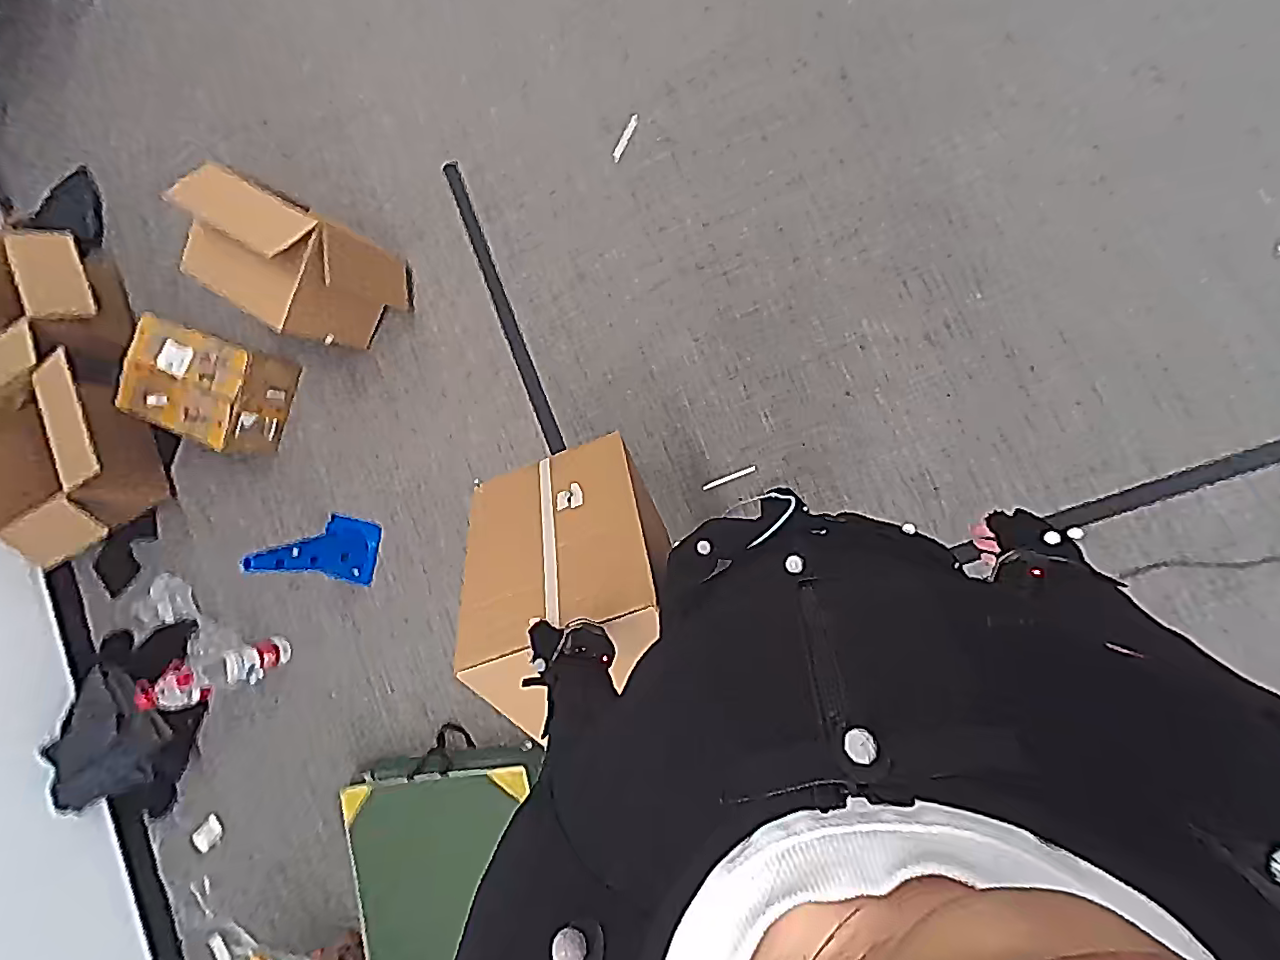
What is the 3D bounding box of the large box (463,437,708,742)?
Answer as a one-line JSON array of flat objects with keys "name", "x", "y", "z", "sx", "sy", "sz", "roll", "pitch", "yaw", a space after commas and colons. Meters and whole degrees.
[{"name": "large box", "x": -0.098, "y": 0.195, "z": 1.006, "sx": 0.320, "sy": 0.320, "sz": 0.408, "roll": -19, "pitch": 41, "yaw": 5}]
